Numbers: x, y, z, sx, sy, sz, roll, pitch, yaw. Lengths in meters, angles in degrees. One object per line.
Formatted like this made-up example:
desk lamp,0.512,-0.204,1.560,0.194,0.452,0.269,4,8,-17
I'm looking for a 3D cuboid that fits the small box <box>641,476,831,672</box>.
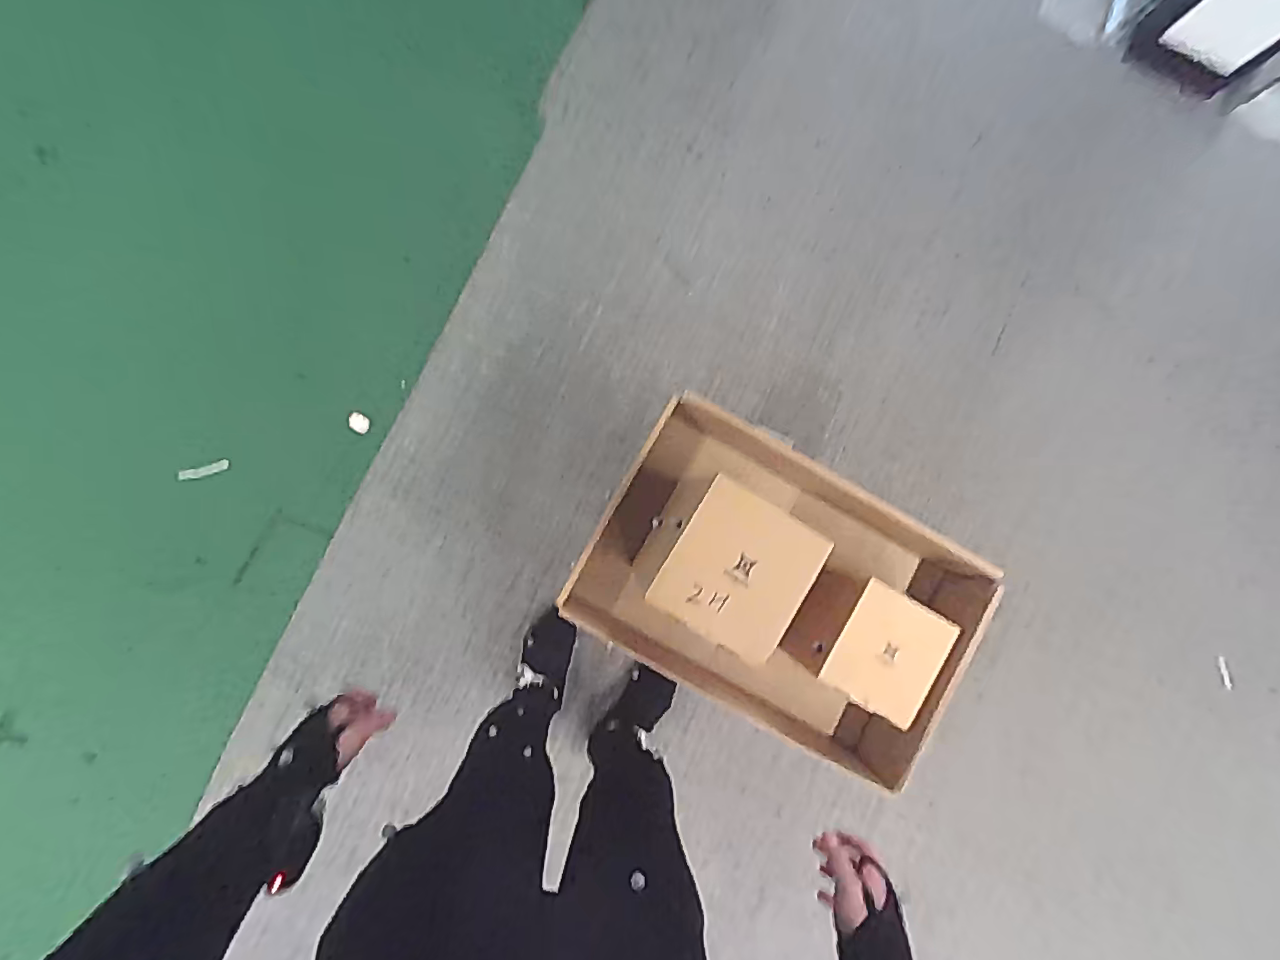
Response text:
small box,0.110,0.113,0.711,0.168,0.176,0.179,32,86,-1
